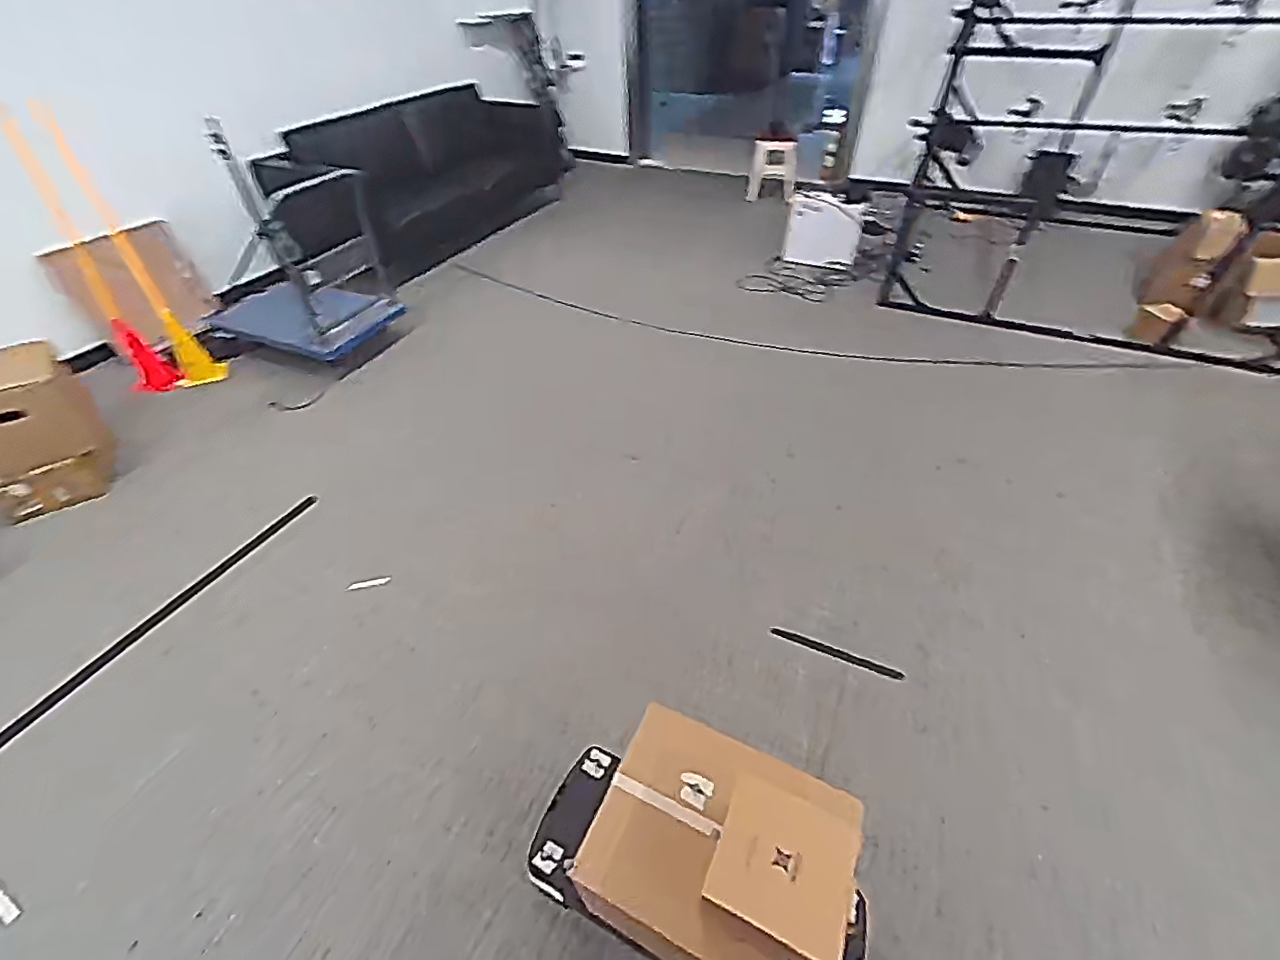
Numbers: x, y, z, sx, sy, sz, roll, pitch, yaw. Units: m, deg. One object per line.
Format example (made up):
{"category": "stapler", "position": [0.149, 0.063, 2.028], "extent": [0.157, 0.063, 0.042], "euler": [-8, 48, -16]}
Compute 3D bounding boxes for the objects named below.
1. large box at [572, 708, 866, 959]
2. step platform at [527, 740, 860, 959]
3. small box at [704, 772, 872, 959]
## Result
{"category": "large box", "position": [0.143, 0.691, 0.971], "extent": [0.408, 0.320, 0.320], "euler": [17, 46, 21]}
{"category": "step platform", "position": [0.093, 0.860, 1.140], "extent": [0.684, 0.204, 0.286], "euler": [22, 48, 24]}
{"category": "small box", "position": [0.200, 0.553, 0.756], "extent": [0.179, 0.176, 0.168], "euler": [18, 47, 21]}
